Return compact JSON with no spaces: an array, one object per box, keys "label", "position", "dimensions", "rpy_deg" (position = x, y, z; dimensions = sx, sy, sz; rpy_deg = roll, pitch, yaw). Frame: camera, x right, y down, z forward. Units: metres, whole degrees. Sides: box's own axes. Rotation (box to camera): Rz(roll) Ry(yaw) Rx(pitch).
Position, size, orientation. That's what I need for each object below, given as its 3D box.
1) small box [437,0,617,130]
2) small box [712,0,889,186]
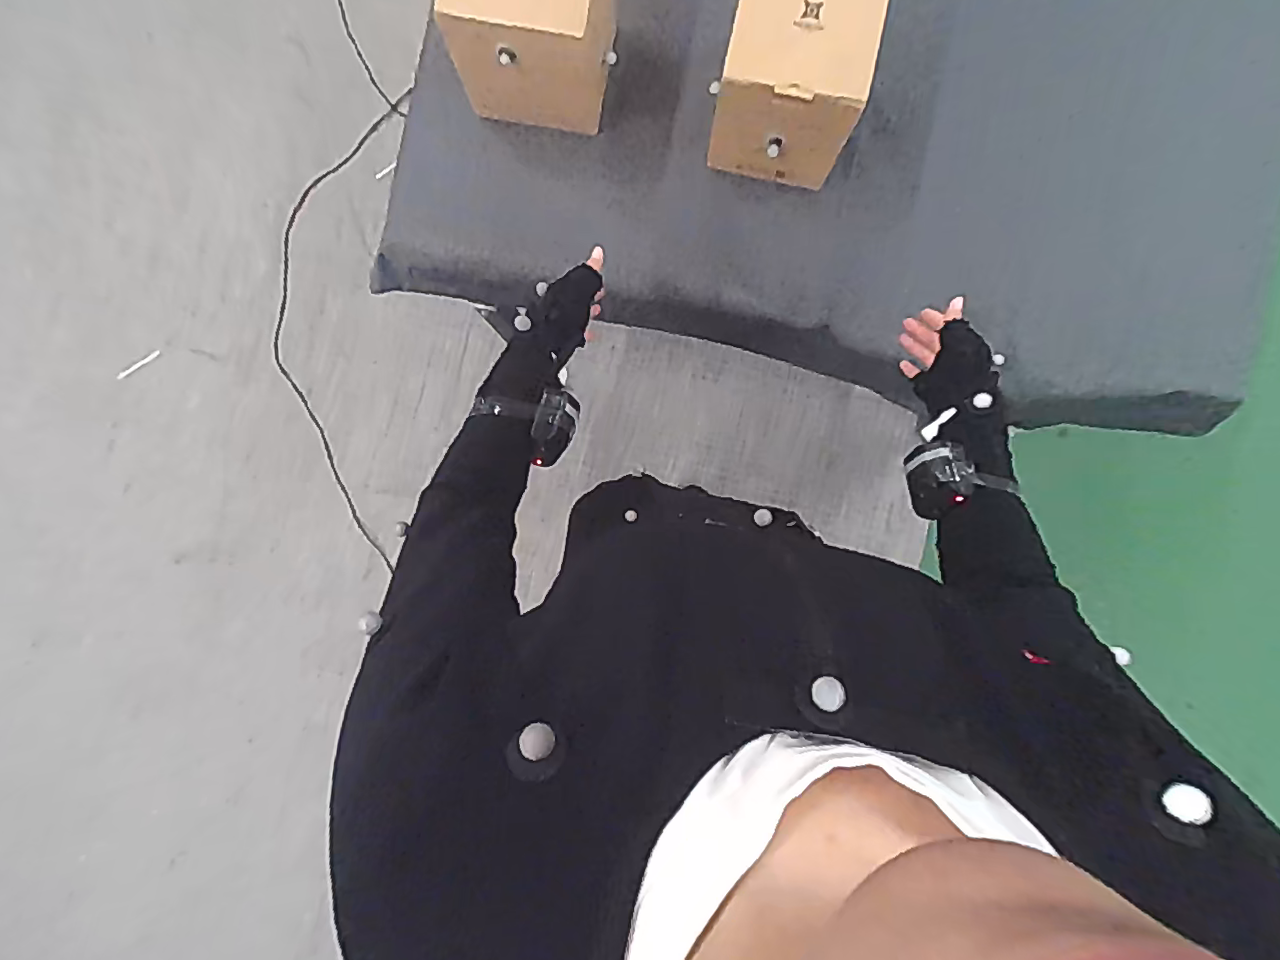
[{"label":"small box","position":[-0.131,-0.588,0.692],"dimensions":[0.179,0.176,0.168],"rpy_deg":[10,88,0]},{"label":"small box","position":[0.192,-0.510,0.686],"dimensions":[0.168,0.176,0.179],"rpy_deg":[13,88,1]}]
